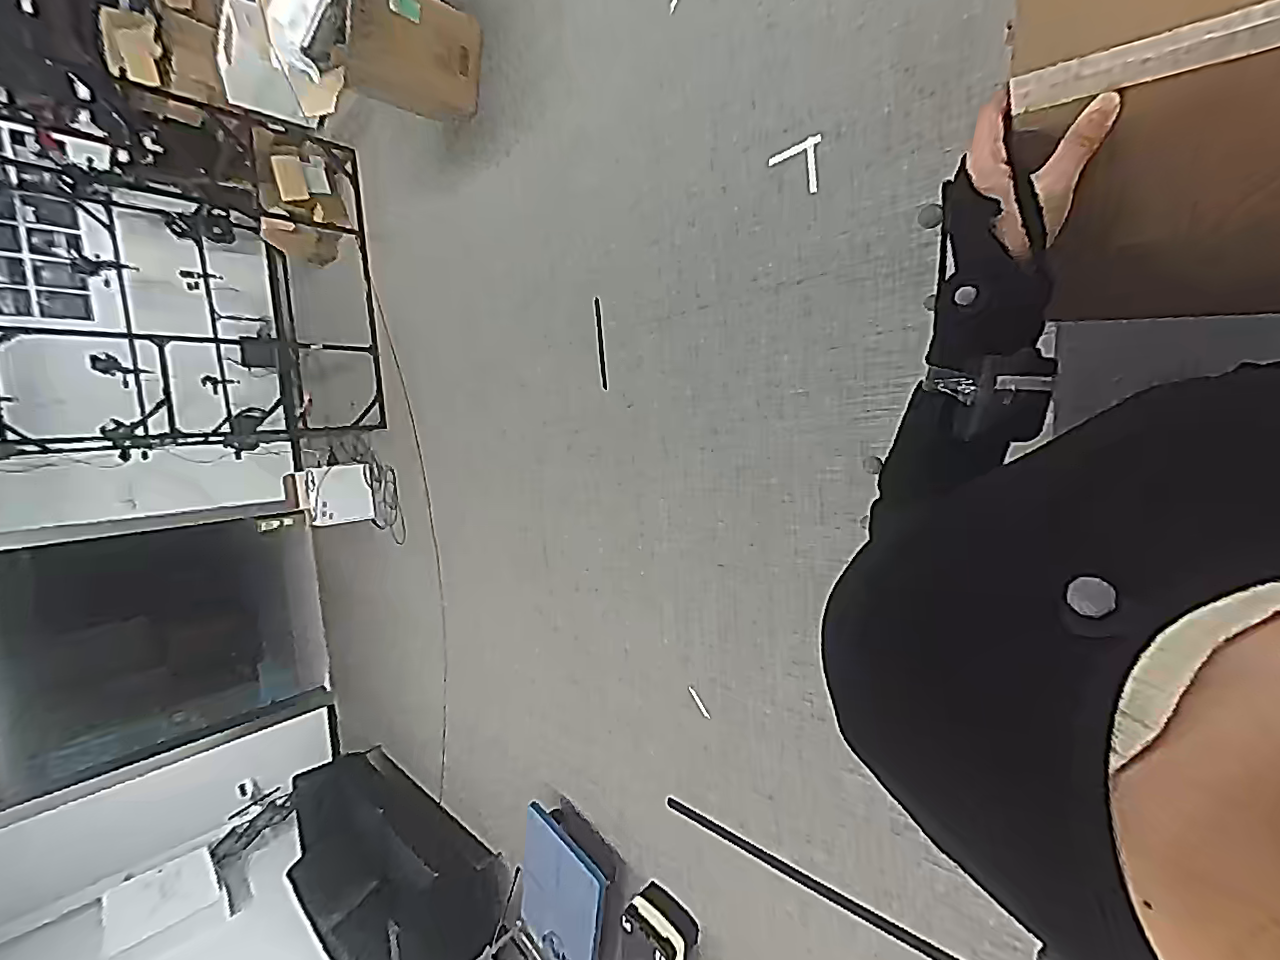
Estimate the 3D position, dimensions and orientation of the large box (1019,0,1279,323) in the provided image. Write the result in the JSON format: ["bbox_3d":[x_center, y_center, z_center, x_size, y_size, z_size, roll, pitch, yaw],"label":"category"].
[{"bbox_3d":[0.473,-0.310,0.287,0.408,0.320,0.320,10,137,43],"label":"large box"}]
